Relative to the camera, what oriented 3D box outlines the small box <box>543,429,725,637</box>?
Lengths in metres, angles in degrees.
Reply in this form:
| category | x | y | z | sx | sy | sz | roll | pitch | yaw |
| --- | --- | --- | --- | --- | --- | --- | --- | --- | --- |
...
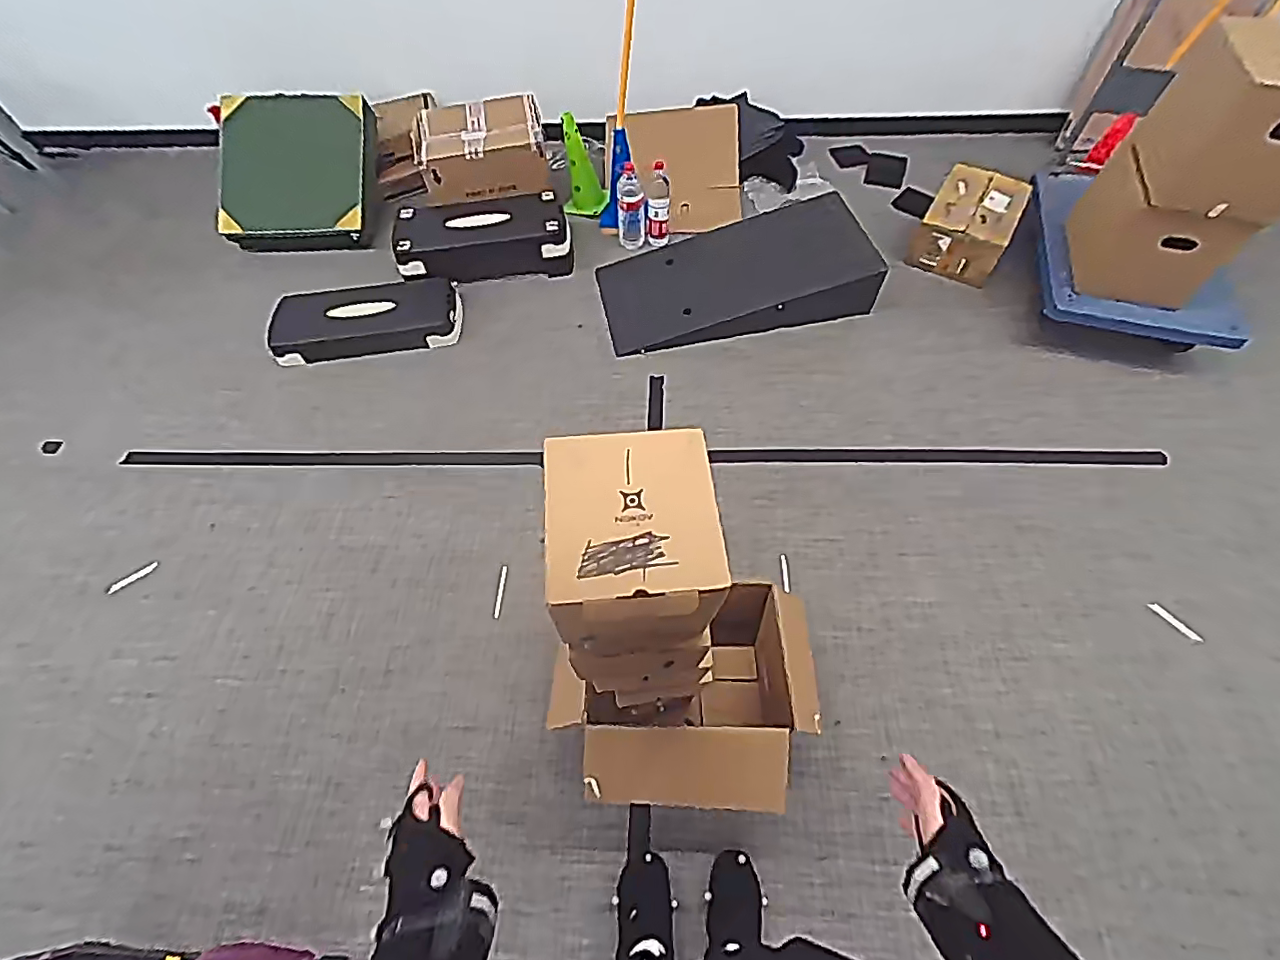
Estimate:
| category | x | y | z | sx | sy | sz | roll | pitch | yaw |
| --- | --- | --- | --- | --- | --- | --- | --- | --- | --- |
| small box | -0.013 | 0.066 | 0.585 | 0.168 | 0.176 | 0.179 | -4 | 62 | -5 |

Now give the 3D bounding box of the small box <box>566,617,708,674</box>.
| category | x | y | z | sx | sy | sz | roll | pitch | yaw |
| --- | --- | --- | --- | --- | --- | --- | --- | --- | --- |
| small box | -0.008 | 0.158 | 0.721 | 0.168 | 0.176 | 0.179 | -3 | 62 | -4 |

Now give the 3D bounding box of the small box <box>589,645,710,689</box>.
| category | x | y | z | sx | sy | sz | roll | pitch | yaw |
| --- | --- | --- | --- | --- | --- | --- | --- | --- | --- |
| small box | 0.007 | 0.234 | 0.866 | 0.179 | 0.176 | 0.168 | -4 | 63 | -4 |

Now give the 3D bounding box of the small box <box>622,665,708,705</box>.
| category | x | y | z | sx | sy | sz | roll | pitch | yaw |
| --- | --- | --- | --- | --- | --- | --- | --- | --- | --- |
| small box | 0.030 | 0.369 | 1.166 | 0.179 | 0.176 | 0.168 | -16 | 63 | -11 |
